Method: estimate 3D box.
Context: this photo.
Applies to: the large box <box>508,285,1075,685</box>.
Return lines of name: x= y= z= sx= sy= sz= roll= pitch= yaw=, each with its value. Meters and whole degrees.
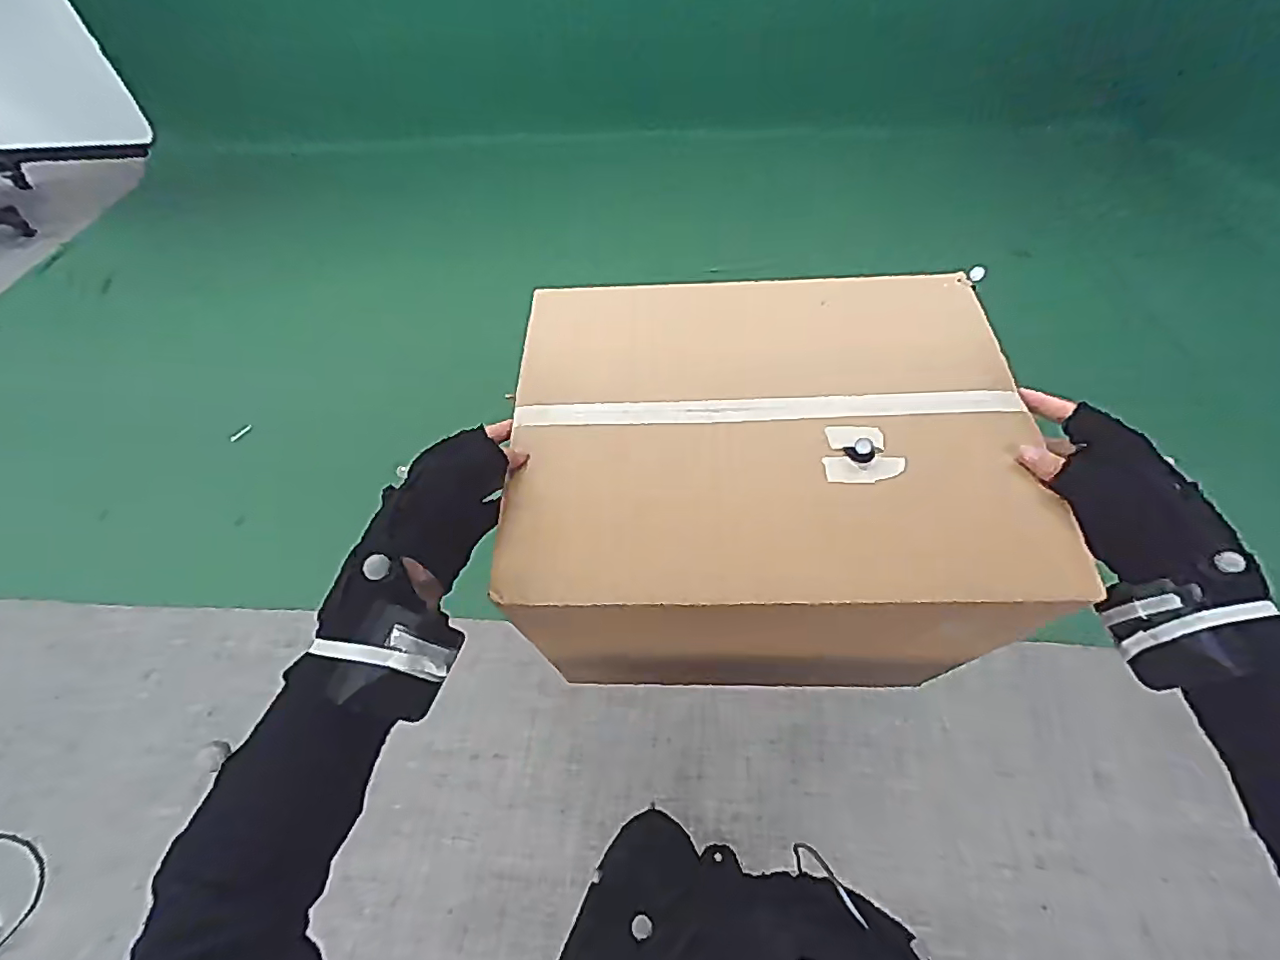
large box: x=0.108 y=0.027 z=0.579 sx=0.408 sy=0.320 sz=0.320 roll=-2 pitch=60 yaw=3
